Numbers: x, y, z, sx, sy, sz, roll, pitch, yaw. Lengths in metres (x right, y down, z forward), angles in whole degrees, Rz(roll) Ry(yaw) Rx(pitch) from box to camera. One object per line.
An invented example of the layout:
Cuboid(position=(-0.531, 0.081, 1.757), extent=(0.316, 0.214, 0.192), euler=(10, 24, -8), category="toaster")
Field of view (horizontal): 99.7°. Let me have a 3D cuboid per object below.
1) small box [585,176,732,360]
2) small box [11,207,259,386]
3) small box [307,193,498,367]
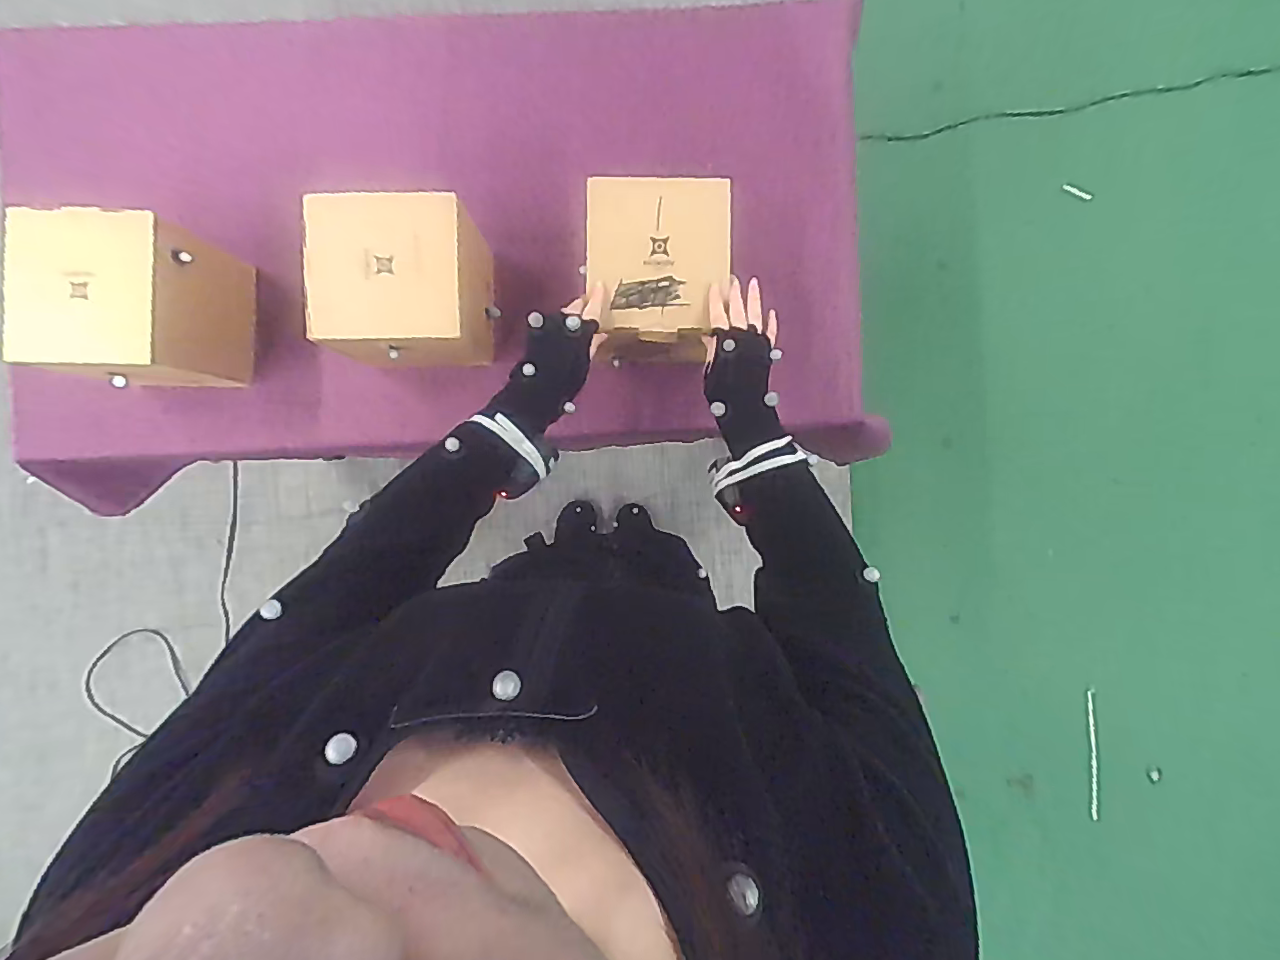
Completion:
Cuboid(position=(0.021, -0.257, 0.693), extent=(0.168, 0.176, 0.179), euler=(1, 89, -1), category="small box")
Cuboid(position=(-0.625, -0.220, 0.691), extent=(0.168, 0.176, 0.179), euler=(1, 89, -1), category="small box")
Cuboid(position=(-0.291, -0.242, 0.693), extent=(0.179, 0.176, 0.168), euler=(0, 91, -1), category="small box")
